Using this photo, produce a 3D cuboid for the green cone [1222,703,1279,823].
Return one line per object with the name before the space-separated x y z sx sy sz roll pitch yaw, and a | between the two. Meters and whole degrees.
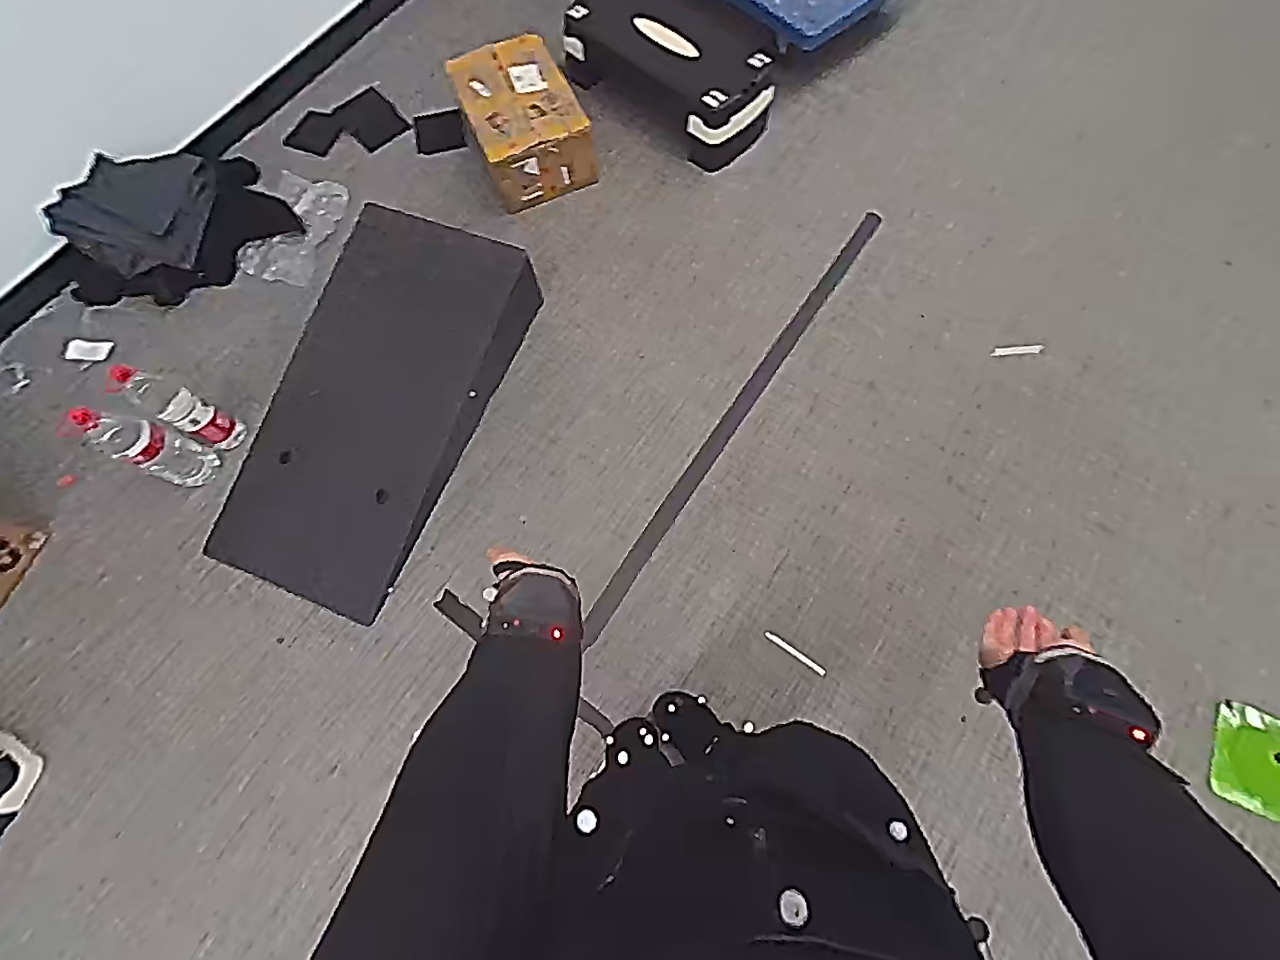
green cone | 1.285 0.530 0.930 0.202 0.368 0.200 23 73 8
